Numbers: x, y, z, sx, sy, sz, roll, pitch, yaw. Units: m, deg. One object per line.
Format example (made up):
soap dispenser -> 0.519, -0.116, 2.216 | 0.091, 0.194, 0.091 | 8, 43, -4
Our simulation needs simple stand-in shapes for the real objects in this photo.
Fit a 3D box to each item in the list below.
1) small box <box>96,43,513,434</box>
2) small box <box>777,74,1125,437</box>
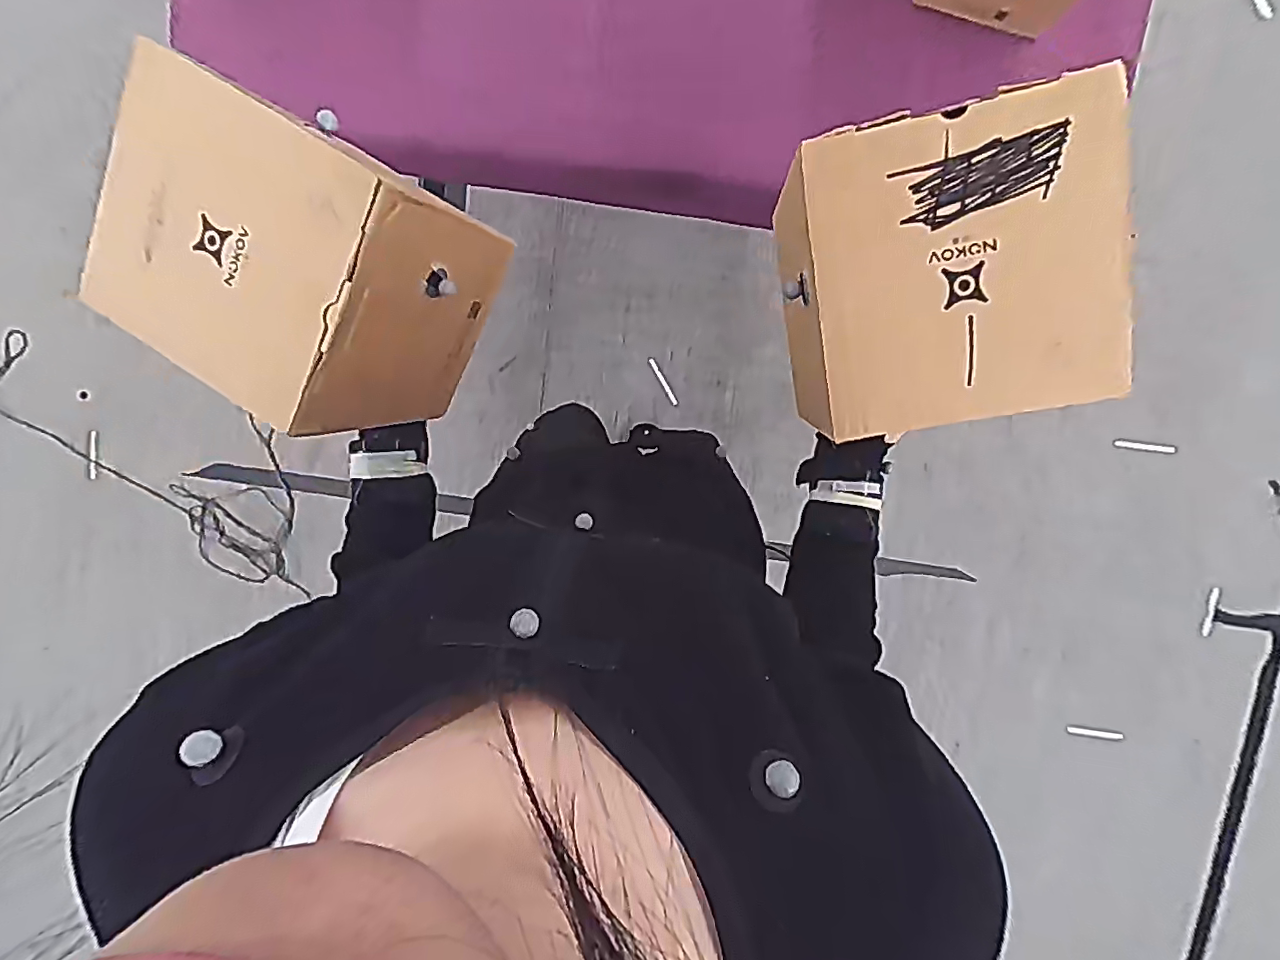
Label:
small box -> -0.224, -0.154, 0.399 | 0.179, 0.176, 0.168 | 32, 105, 6
small box -> 0.198, -0.137, 0.391 | 0.168, 0.176, 0.179 | -8, 102, 10
